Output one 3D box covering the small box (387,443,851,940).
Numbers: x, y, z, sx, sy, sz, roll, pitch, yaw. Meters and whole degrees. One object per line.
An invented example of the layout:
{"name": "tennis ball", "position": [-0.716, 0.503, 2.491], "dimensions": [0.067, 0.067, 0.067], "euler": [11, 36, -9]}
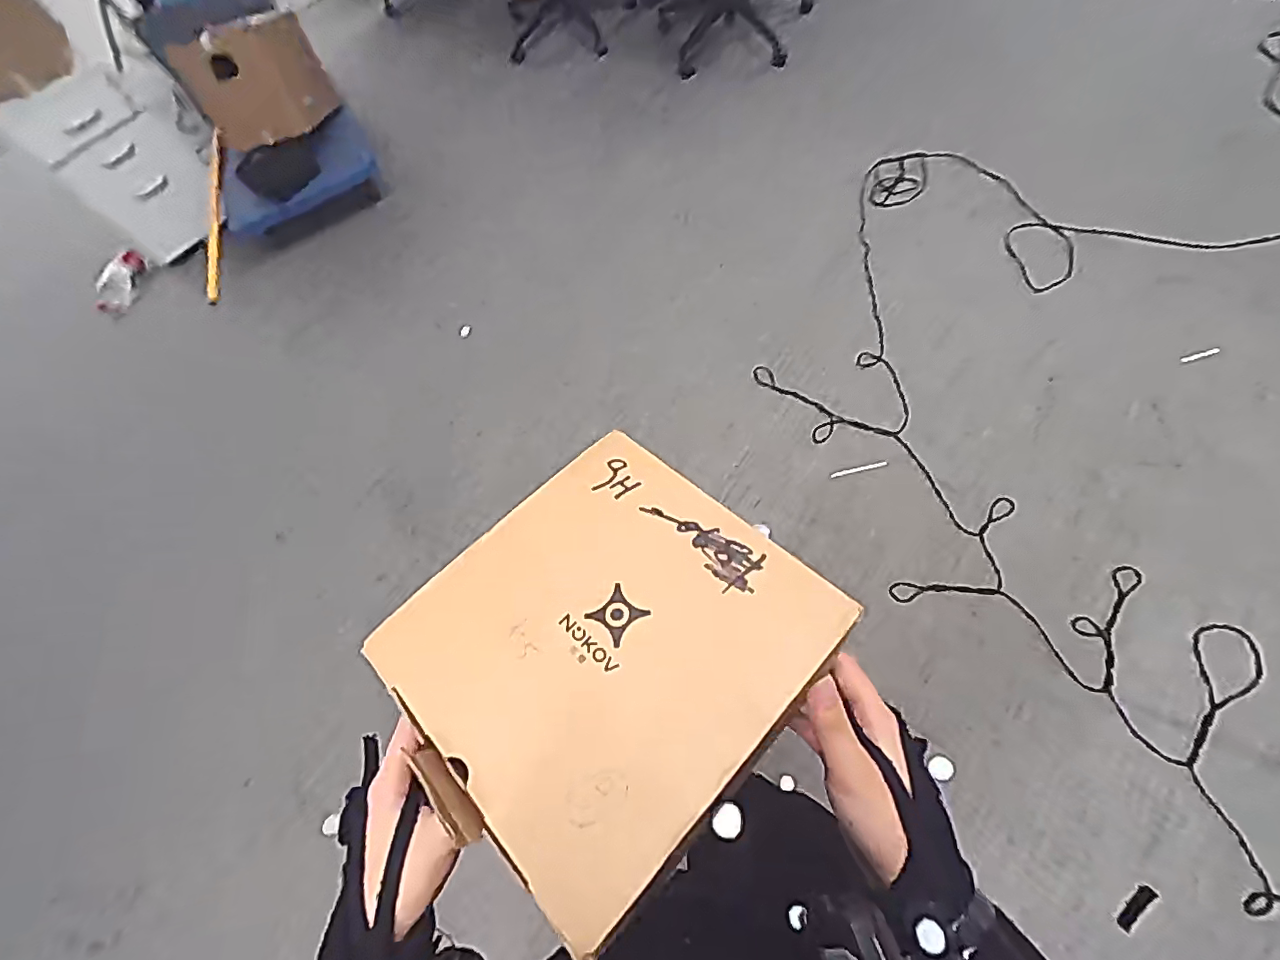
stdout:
{"name": "small box", "position": [-0.004, 0.119, 0.329], "dimensions": [0.168, 0.176, 0.179], "euler": [38, 69, 27]}
